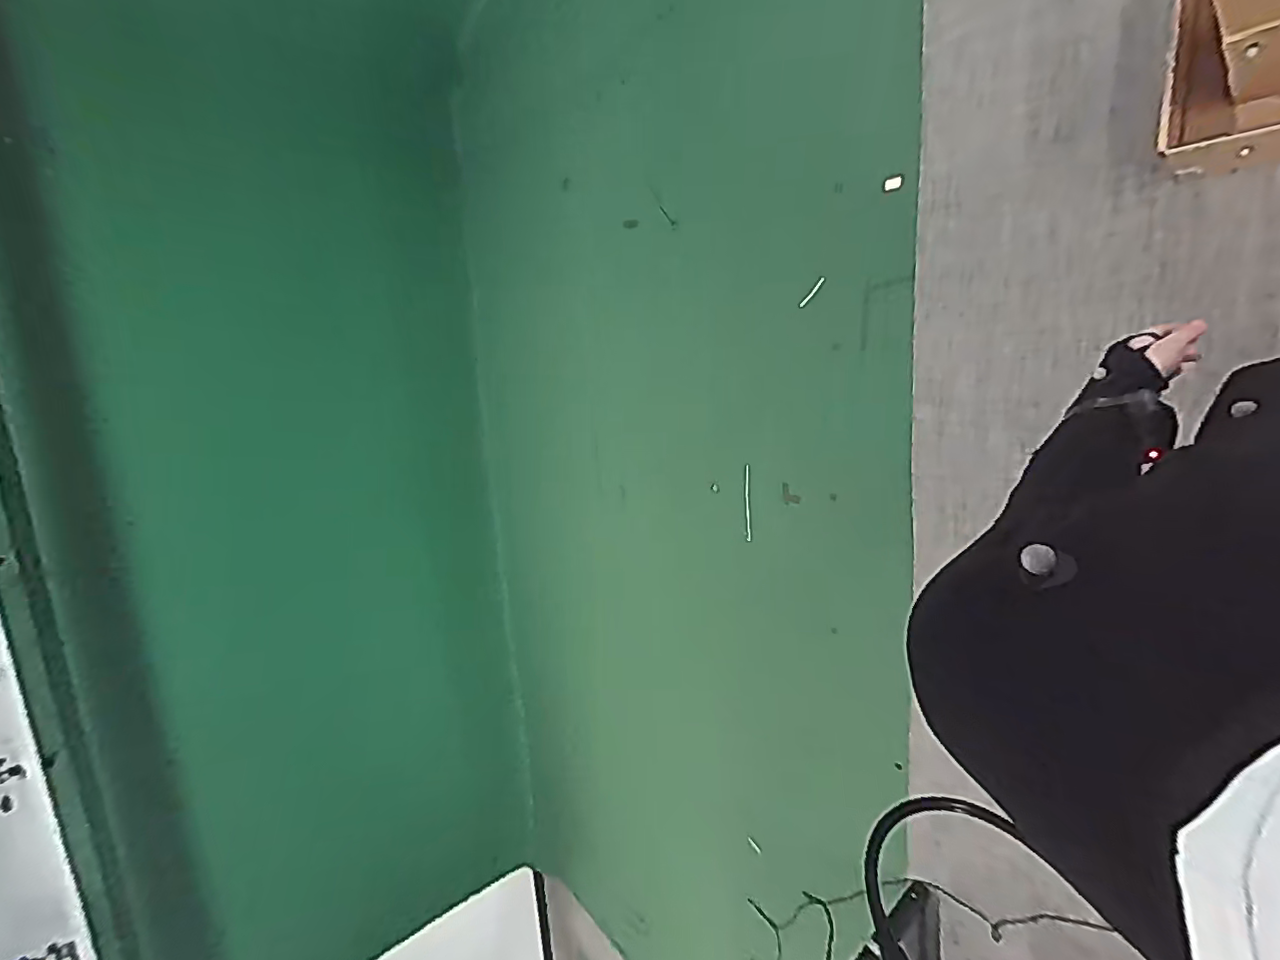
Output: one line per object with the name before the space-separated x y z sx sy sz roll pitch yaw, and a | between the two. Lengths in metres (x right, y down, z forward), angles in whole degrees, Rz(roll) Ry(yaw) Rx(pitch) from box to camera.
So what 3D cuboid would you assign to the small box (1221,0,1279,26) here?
small box | 0.866 -0.726 0.678 0.179 0.176 0.168 11 107 50
